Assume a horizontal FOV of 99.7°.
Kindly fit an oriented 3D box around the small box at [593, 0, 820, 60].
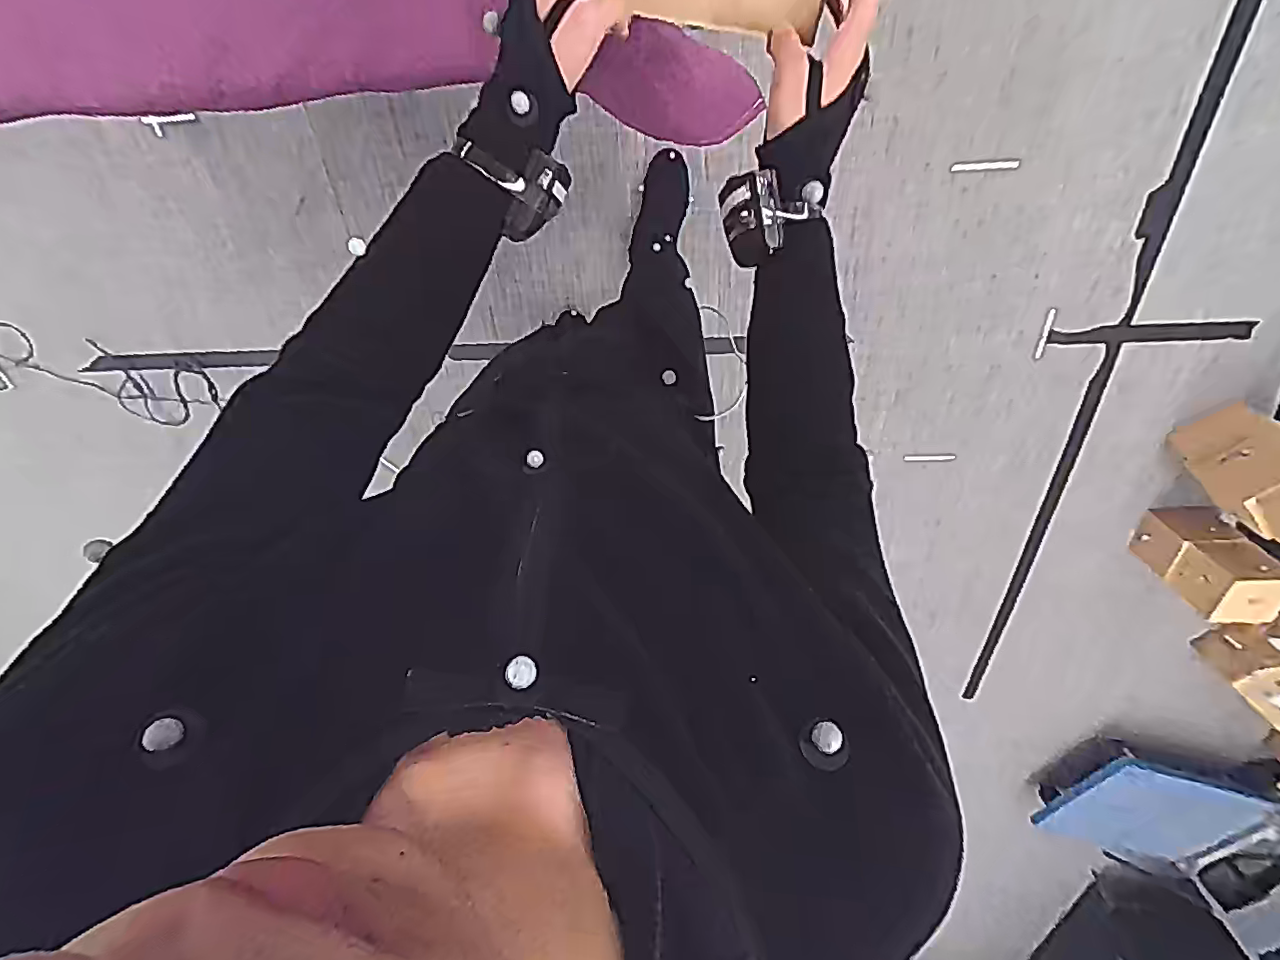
[{"bbox_3d":[0.061,-0.466,0.427,0.179,0.176,0.168,7,138,-6],"label":"small box"}]
